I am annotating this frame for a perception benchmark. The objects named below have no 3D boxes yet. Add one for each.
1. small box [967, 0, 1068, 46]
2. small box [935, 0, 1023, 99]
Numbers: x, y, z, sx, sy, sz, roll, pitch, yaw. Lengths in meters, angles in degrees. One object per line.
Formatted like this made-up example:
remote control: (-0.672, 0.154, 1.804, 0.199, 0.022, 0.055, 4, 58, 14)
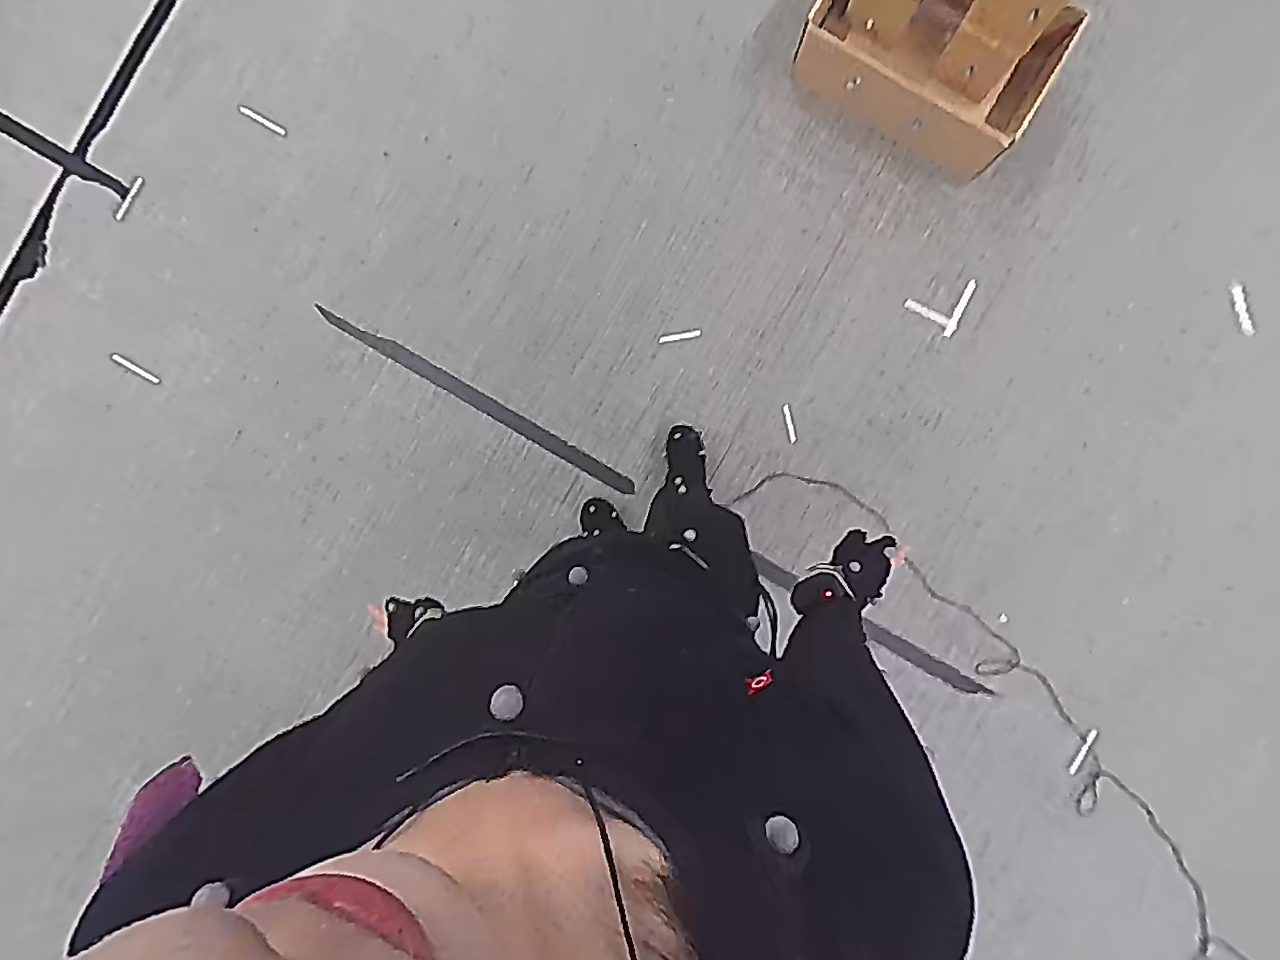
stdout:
small box: (0.913, -1.166, 1.252, 0.179, 0.176, 0.168, 33, 88, 3)
small box: (0.912, -1.159, 1.416, 0.168, 0.176, 0.179, 32, 91, 4)
